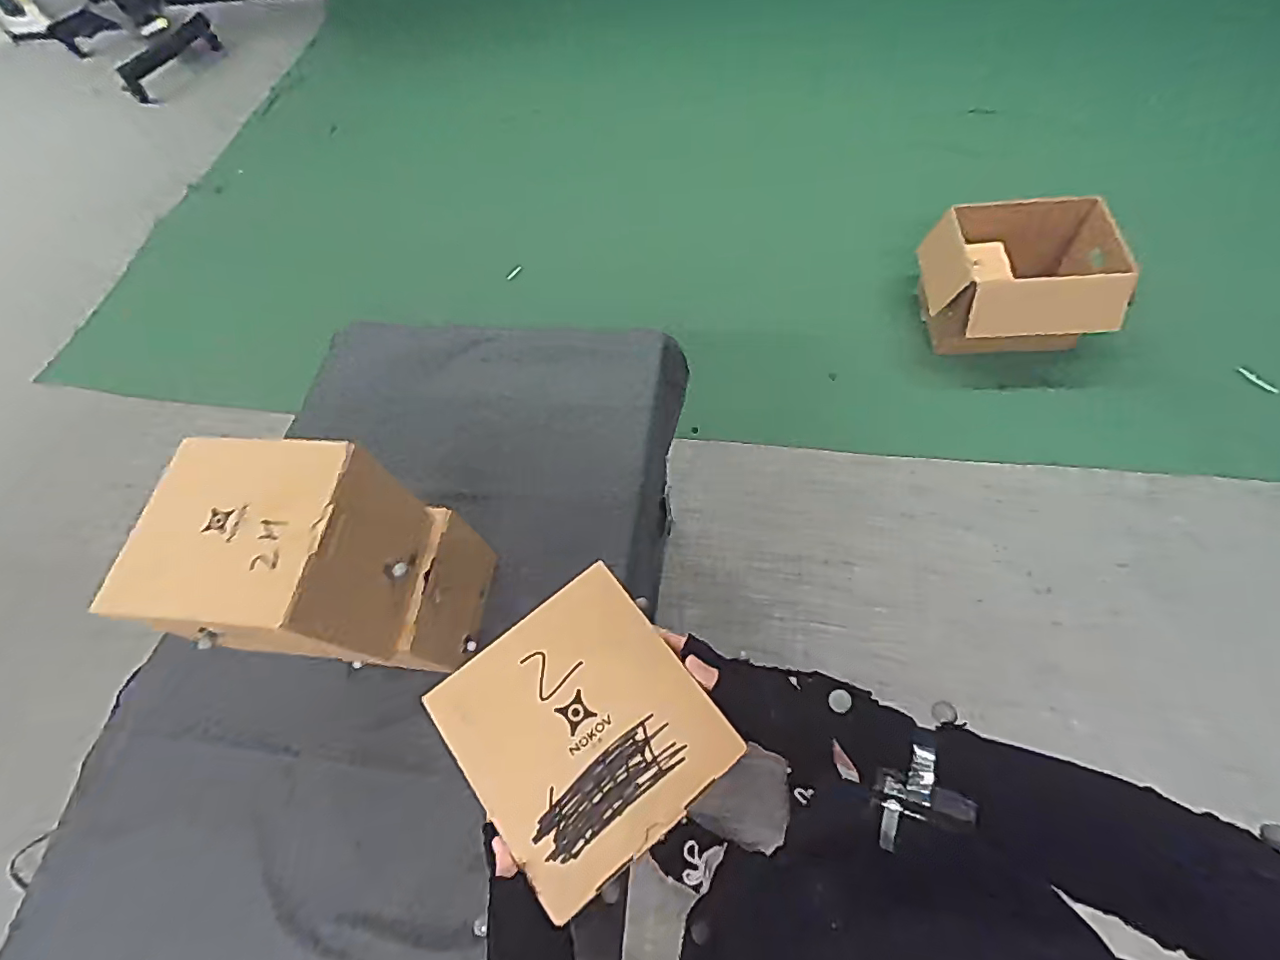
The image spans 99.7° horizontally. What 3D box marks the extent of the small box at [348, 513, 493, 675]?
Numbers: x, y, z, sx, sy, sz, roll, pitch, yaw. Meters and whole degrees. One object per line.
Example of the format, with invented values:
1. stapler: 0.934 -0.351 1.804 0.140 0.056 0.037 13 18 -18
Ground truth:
1. small box: -0.305 0.143 0.679 0.179 0.176 0.168 3 63 9

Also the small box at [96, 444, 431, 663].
1. small box: -0.340 0.079 0.531 0.179 0.176 0.168 2 63 8
